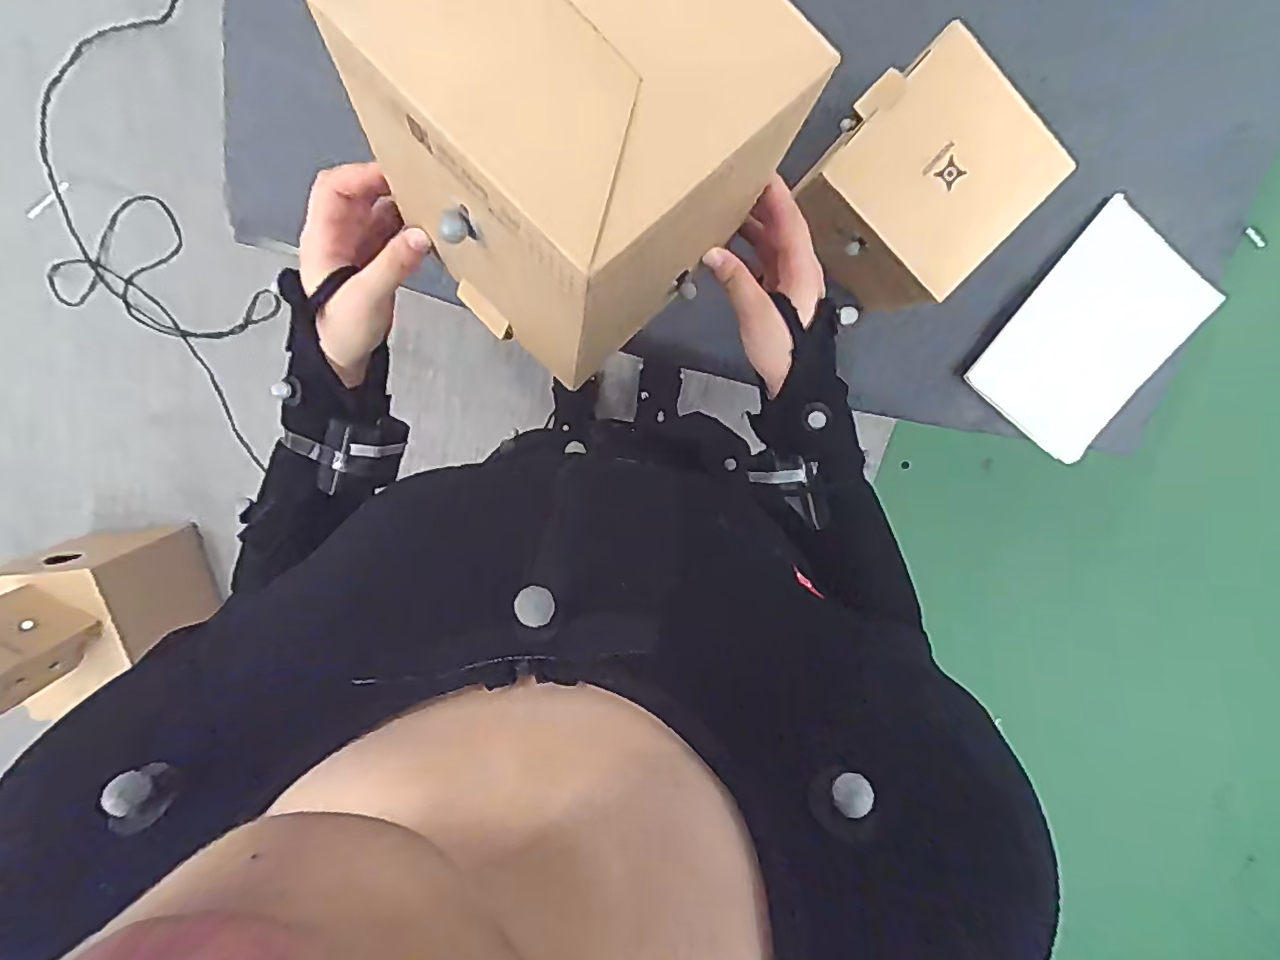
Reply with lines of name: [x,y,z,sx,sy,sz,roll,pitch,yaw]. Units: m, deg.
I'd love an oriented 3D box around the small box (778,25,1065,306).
small box: [0.277,-0.306,0.576,0.179,0.176,0.168,41,101,-9]

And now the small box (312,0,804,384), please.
small box: [-0.039,-0.192,0.319,0.168,0.176,0.179,45,77,0]

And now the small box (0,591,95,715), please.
small box: [-1.404,0.380,1.215,0.179,0.176,0.168,33,103,-11]
